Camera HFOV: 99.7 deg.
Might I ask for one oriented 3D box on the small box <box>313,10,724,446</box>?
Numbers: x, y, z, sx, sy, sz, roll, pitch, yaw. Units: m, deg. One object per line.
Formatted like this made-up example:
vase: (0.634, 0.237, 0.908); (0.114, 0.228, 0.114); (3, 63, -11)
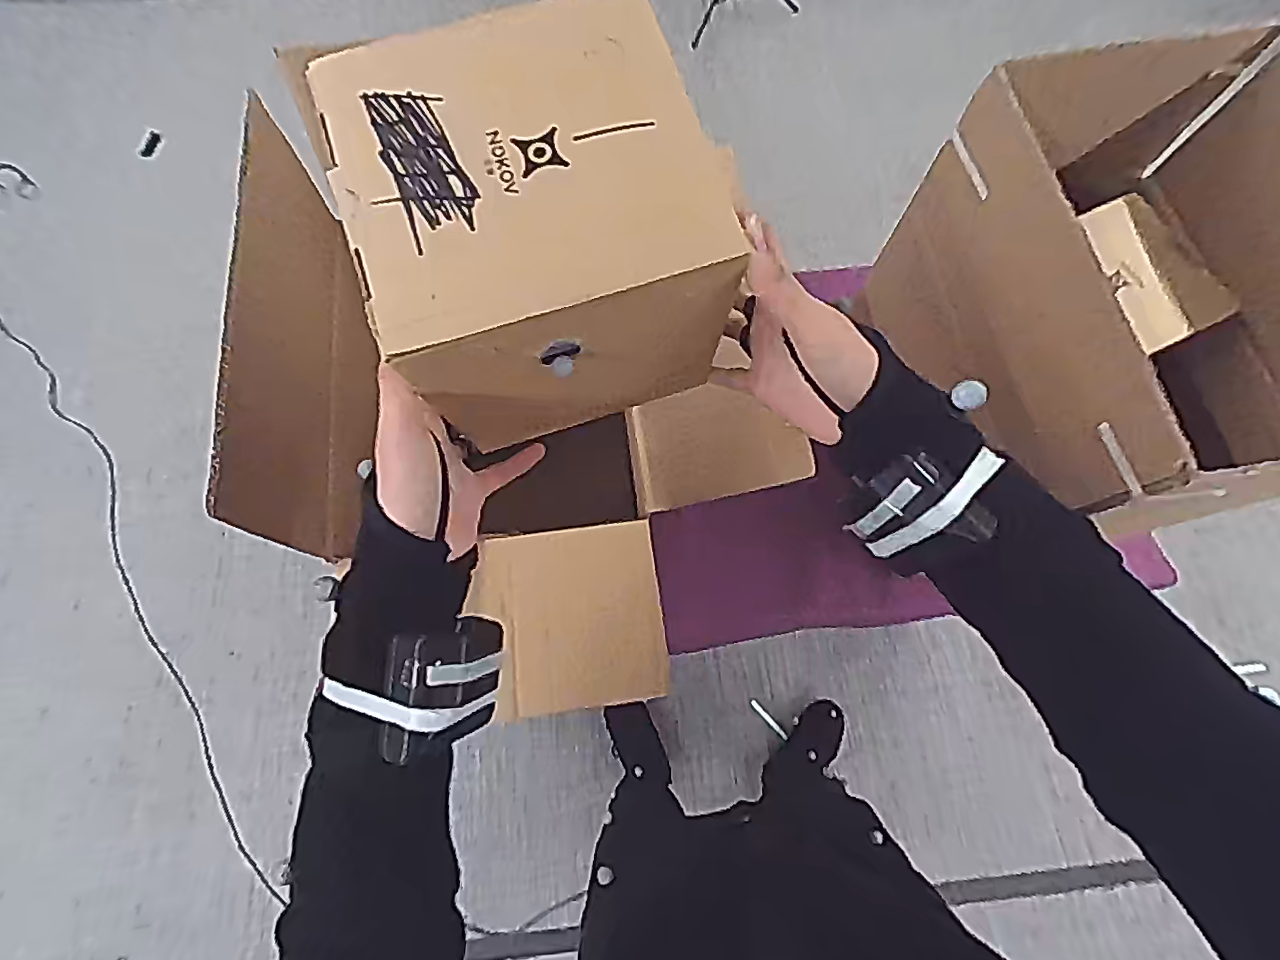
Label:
small box: (-0.064, -0.136, 0.349); (0.179, 0.176, 0.168); (-18, 80, -5)
